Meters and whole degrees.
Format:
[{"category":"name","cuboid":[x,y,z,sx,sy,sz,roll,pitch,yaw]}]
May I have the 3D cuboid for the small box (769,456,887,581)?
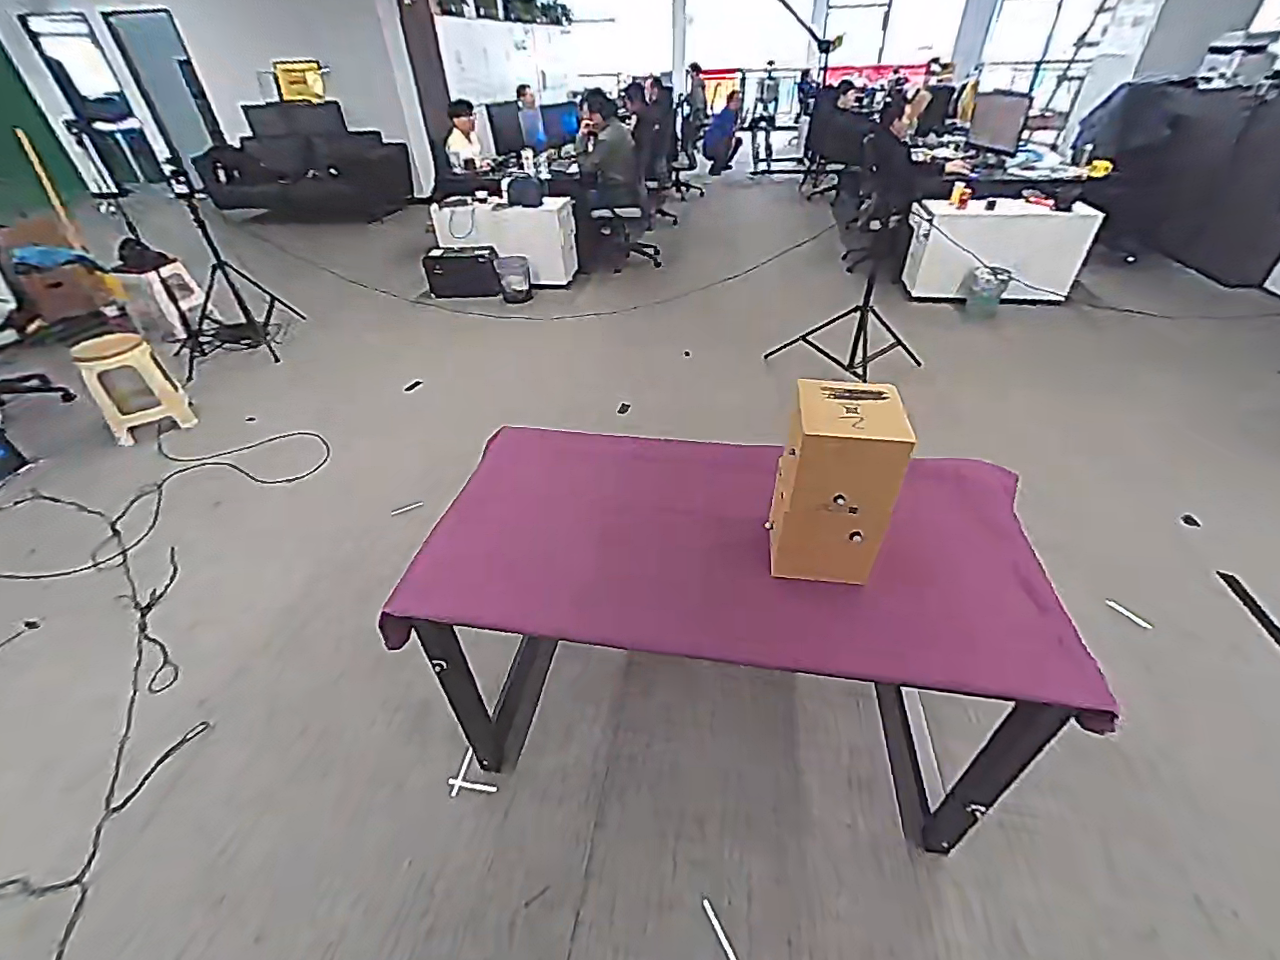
[{"category":"small box","cuboid":[0.345,0.073,1.030,0.179,0.176,0.168,3,38,8]}]
